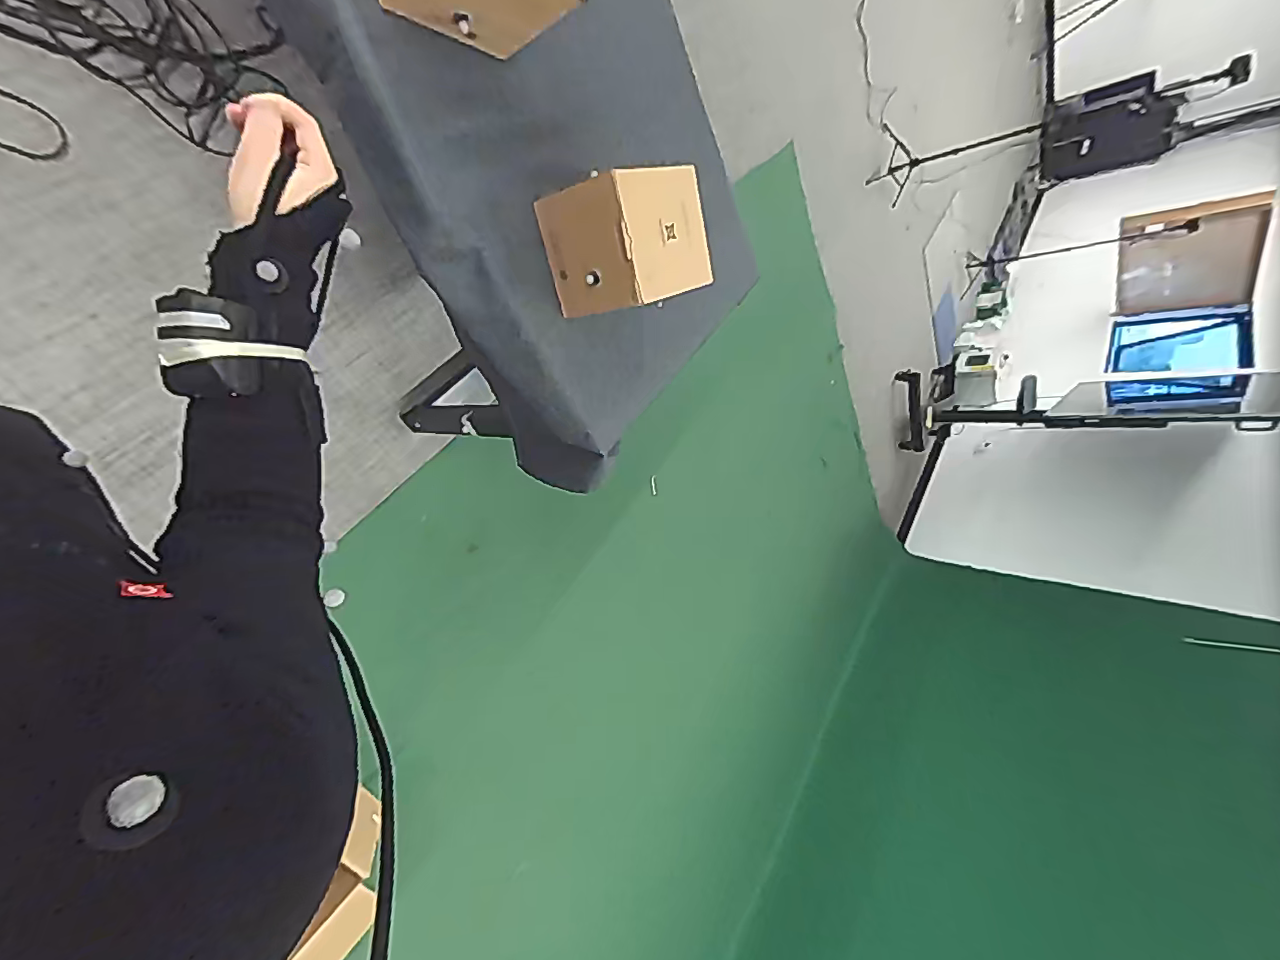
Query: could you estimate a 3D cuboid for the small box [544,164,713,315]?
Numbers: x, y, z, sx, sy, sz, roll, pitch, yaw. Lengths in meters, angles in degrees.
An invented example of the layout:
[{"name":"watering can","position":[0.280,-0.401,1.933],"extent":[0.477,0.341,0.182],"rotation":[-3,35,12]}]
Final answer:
[{"name":"small box","position":[-0.020,-0.349,0.797],"extent":[0.179,0.176,0.168],"rotation":[-34,120,-41]}]
